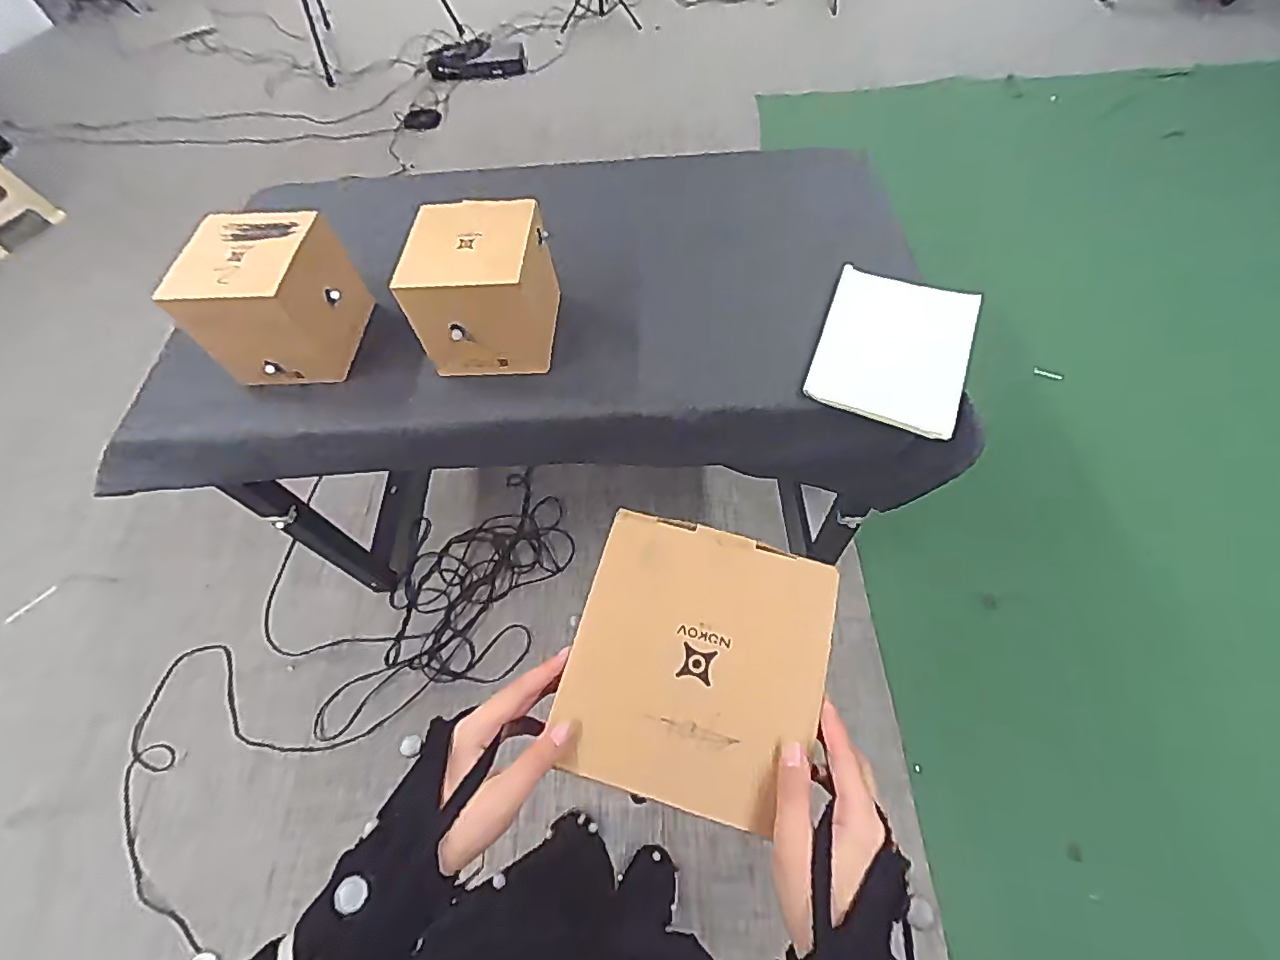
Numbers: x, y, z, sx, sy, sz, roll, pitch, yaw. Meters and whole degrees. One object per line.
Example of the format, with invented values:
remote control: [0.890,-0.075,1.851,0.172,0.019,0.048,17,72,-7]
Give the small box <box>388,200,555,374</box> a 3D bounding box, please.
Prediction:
small box: [-0.221,-0.264,0.765,0.168,0.176,0.179,-1,58,4]

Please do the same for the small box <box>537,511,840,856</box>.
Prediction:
small box: [0.038,0.150,0.420,0.168,0.176,0.179,14,67,7]
